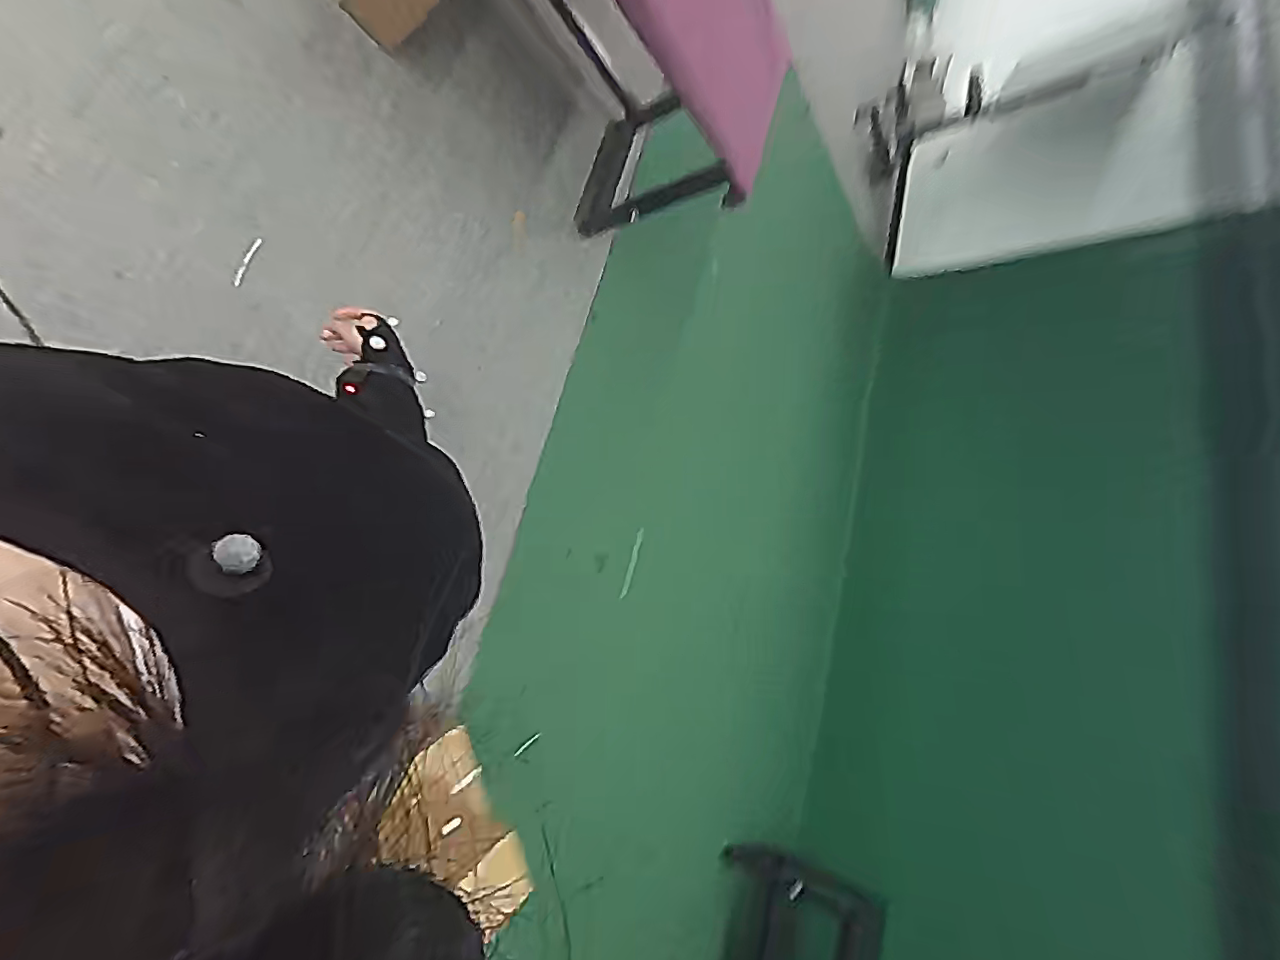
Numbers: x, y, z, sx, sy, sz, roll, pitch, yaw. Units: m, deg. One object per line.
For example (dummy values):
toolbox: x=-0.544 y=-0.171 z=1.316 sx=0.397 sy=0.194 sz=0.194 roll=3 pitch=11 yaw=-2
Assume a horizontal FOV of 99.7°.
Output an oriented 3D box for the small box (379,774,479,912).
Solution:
small box: x=-0.476 y=0.829 z=1.257 sx=0.168 sy=0.176 sz=0.179 roll=-24 pitch=109 yaw=-47

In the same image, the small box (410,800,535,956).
small box: x=-0.355 y=0.829 z=1.148 sx=0.168 sy=0.176 sz=0.179 roll=-28 pitch=112 yaw=-47
